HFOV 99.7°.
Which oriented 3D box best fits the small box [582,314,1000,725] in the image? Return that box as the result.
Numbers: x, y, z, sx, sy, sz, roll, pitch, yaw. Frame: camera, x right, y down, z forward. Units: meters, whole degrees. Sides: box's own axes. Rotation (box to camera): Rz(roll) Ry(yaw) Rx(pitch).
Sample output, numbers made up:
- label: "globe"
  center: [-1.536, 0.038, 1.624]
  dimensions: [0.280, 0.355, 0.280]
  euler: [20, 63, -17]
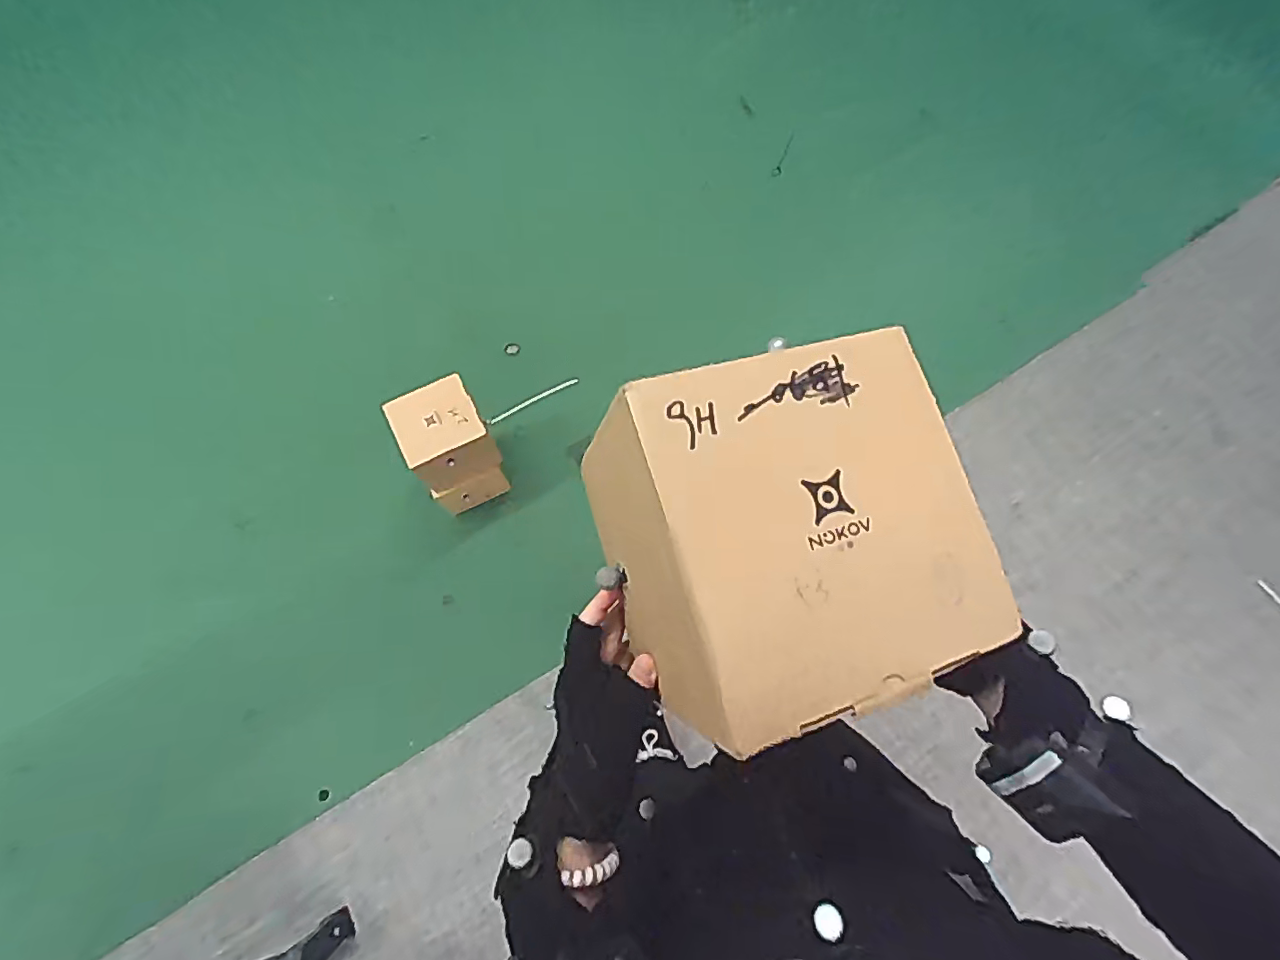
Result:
- label: "small box"
  center: [0.070, 0.023, 0.344]
  dimensions: [0.168, 0.176, 0.179]
  euler: [-14, 82, -16]

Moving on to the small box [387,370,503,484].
- label: "small box"
  center: [-0.435, -0.112, 1.229]
  dimensions: [0.179, 0.176, 0.168]
  euler: [-26, 75, -12]

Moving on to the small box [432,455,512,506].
- label: "small box"
  center: [-0.444, -0.048, 1.381]
  dimensions: [0.168, 0.176, 0.179]
  euler: [-25, 74, -10]
